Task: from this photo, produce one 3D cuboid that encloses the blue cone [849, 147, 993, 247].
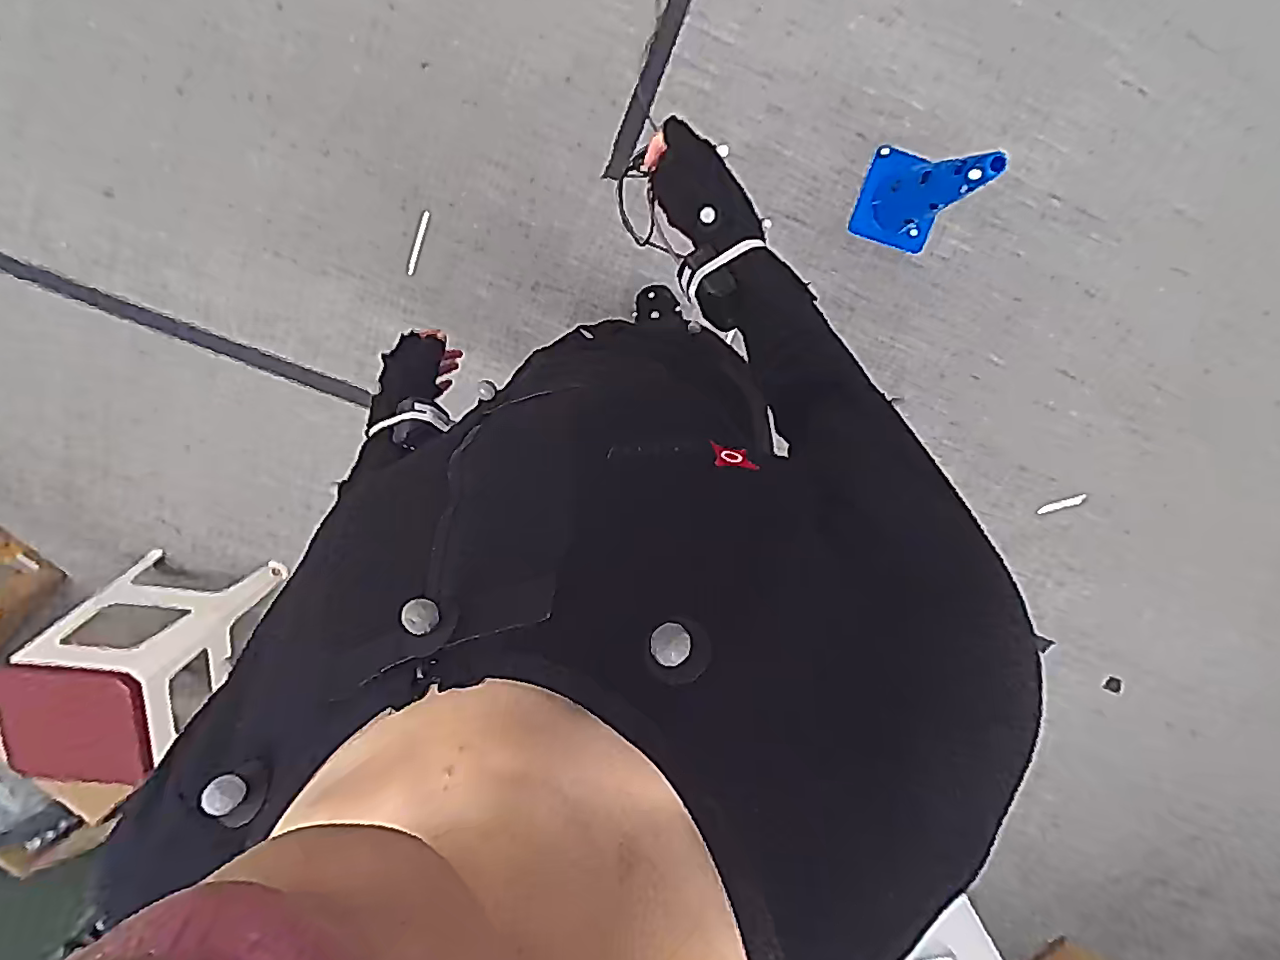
[{"bbox_3d":[0.619,-0.627,1.141,0.192,0.380,0.193,16,106,-6],"label":"blue cone"}]
